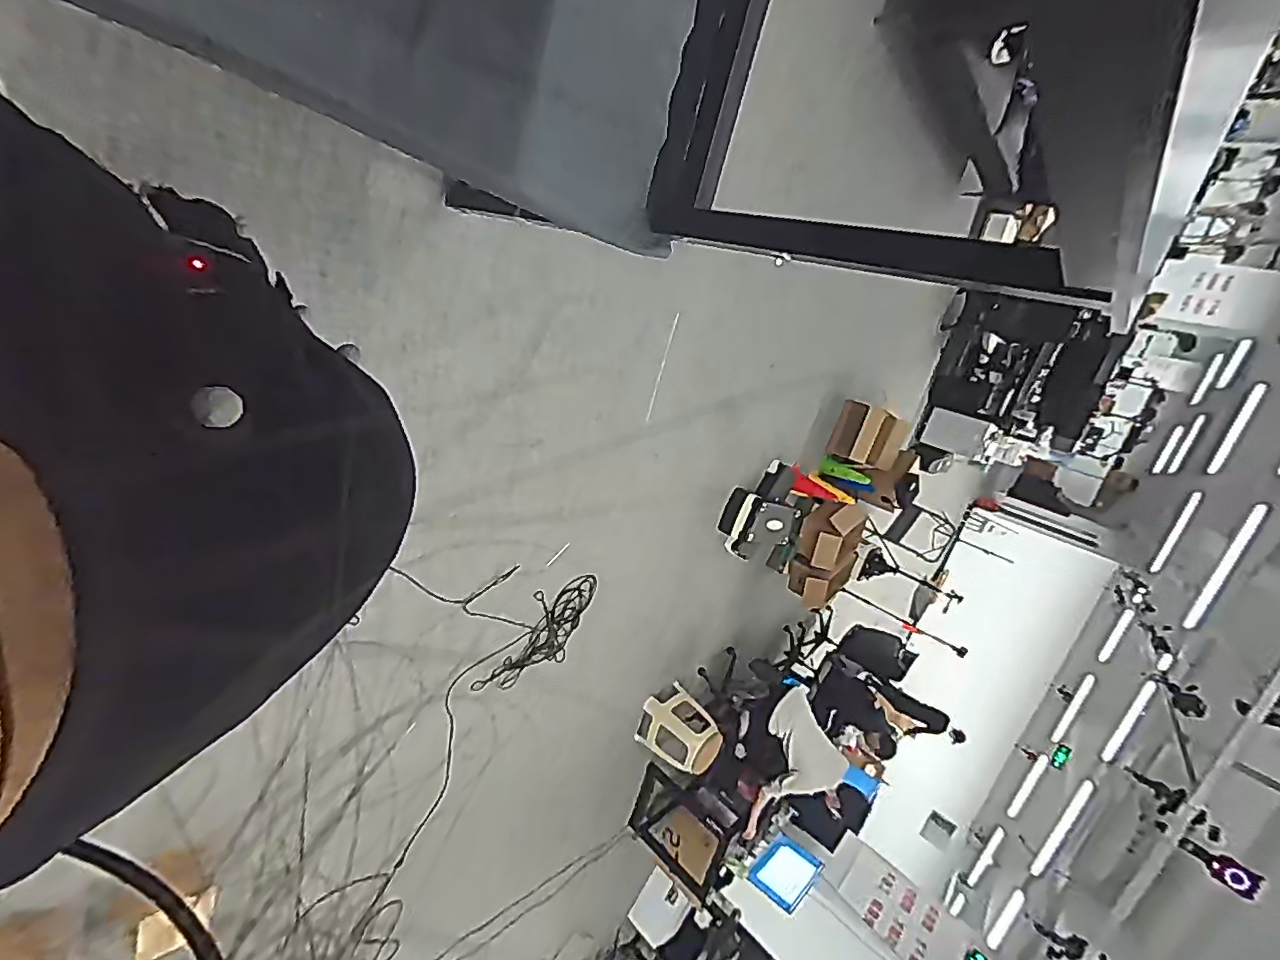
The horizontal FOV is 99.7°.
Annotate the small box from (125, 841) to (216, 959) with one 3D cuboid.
[{"bbox_3d":[-1.336,1.185,1.535,0.168,0.176,0.179,0,111,-51],"label":"small box"}]

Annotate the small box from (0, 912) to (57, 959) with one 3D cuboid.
[{"bbox_3d":[-1.536,1.188,1.292,0.168,0.176,0.179,10,105,-52],"label":"small box"}]
